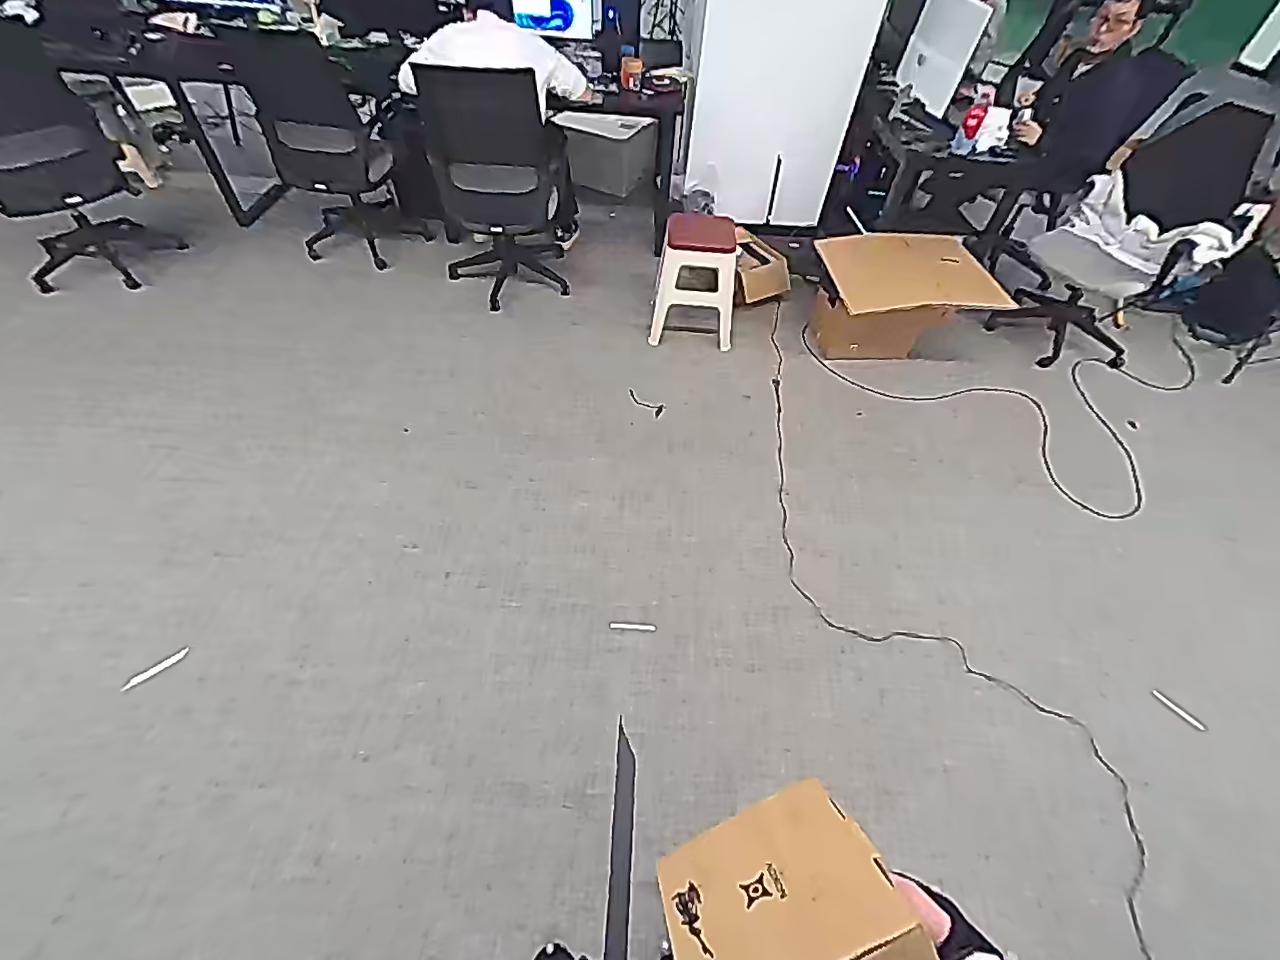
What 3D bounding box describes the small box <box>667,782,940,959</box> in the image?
[{"bbox_3d":[0.144,0.413,0.460,0.179,0.168,0.176,-24,95,-5],"label":"small box"}]
